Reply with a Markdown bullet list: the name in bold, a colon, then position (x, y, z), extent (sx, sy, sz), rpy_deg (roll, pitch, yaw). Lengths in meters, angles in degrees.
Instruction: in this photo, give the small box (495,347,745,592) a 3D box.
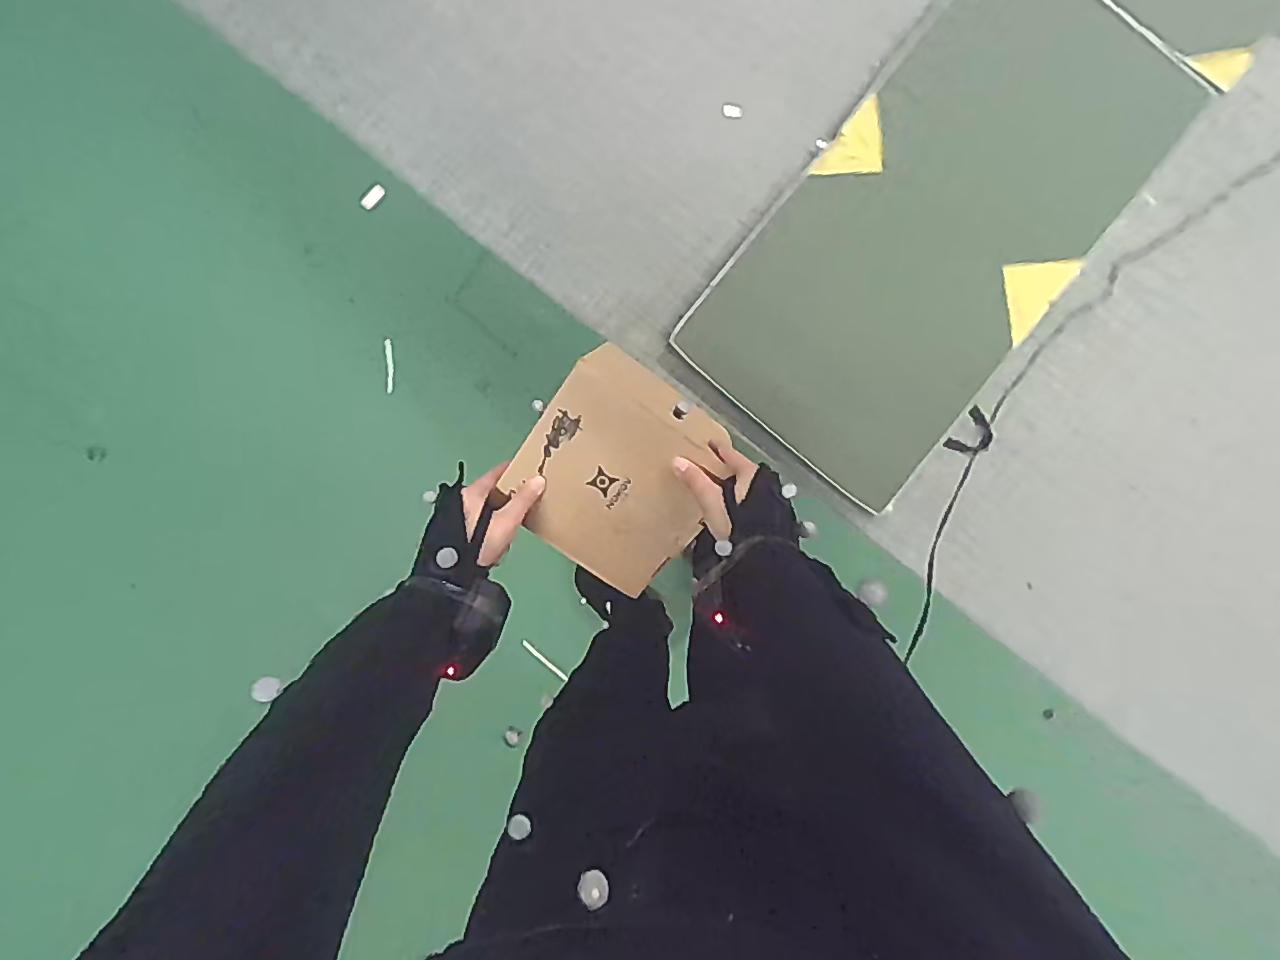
- **small box**: position (-0.015, -0.024, 0.572), extent (0.179, 0.176, 0.168), rpy_deg (37, 107, -9)
